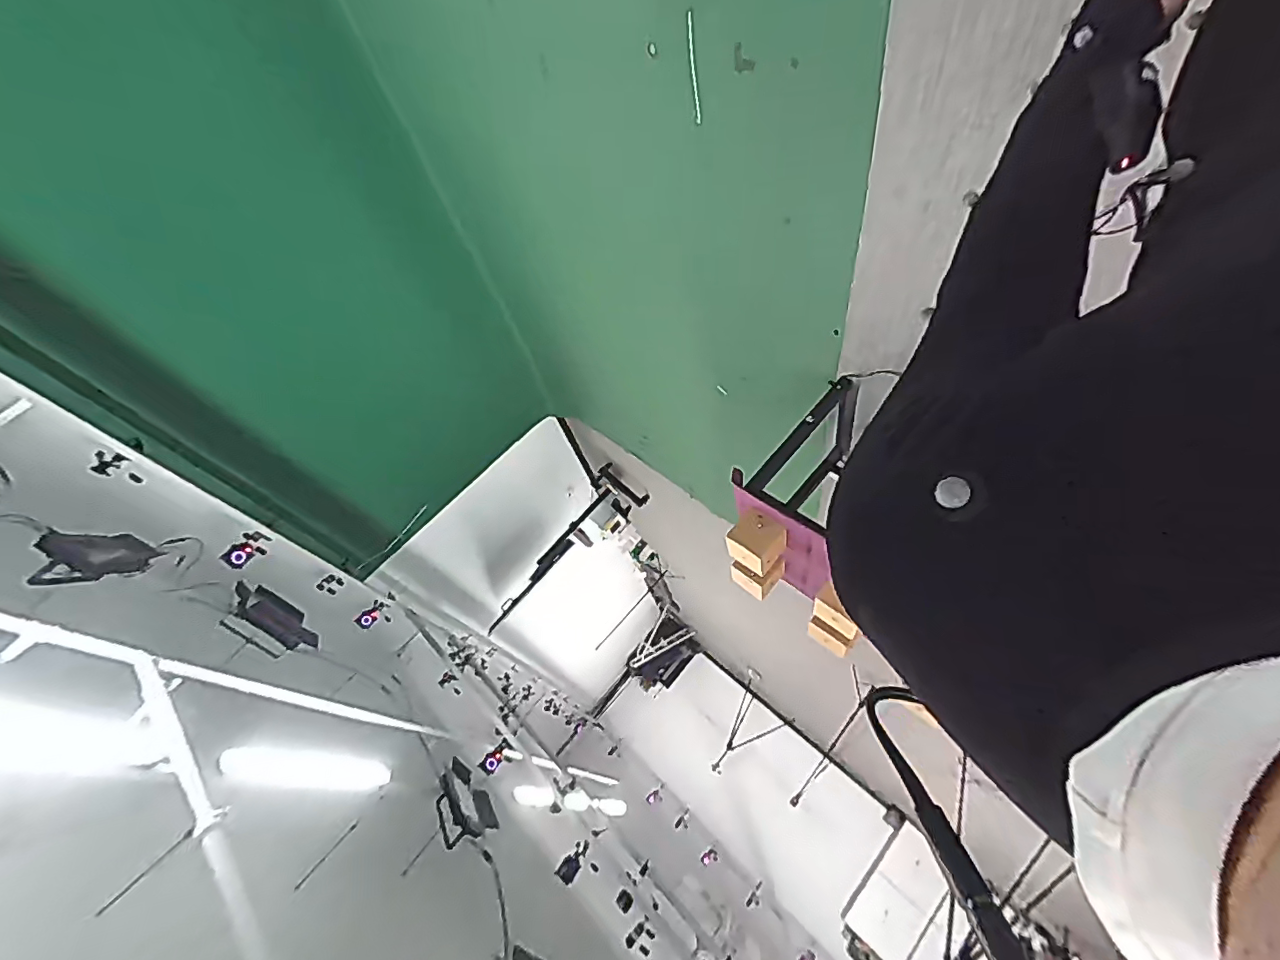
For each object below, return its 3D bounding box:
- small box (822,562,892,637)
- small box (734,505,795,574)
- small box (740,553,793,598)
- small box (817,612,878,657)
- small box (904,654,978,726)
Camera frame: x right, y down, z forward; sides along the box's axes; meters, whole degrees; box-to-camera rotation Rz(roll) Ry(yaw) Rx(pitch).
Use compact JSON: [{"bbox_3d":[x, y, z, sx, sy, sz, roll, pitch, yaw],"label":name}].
[{"bbox_3d":[0.777,0.428,1.940,0.168,0.176,0.179,35,163,31],"label":"small box"},{"bbox_3d":[0.495,0.233,2.131,0.168,0.176,0.179,33,161,31],"label":"small box"},{"bbox_3d":[0.559,0.384,2.378,0.168,0.176,0.179,35,162,29],"label":"small box"},{"bbox_3d":[0.838,0.578,2.184,0.168,0.176,0.179,34,161,30],"label":"small box"},{"bbox_3d":[1.106,0.769,1.986,0.168,0.176,0.179,35,162,31],"label":"small box"}]
